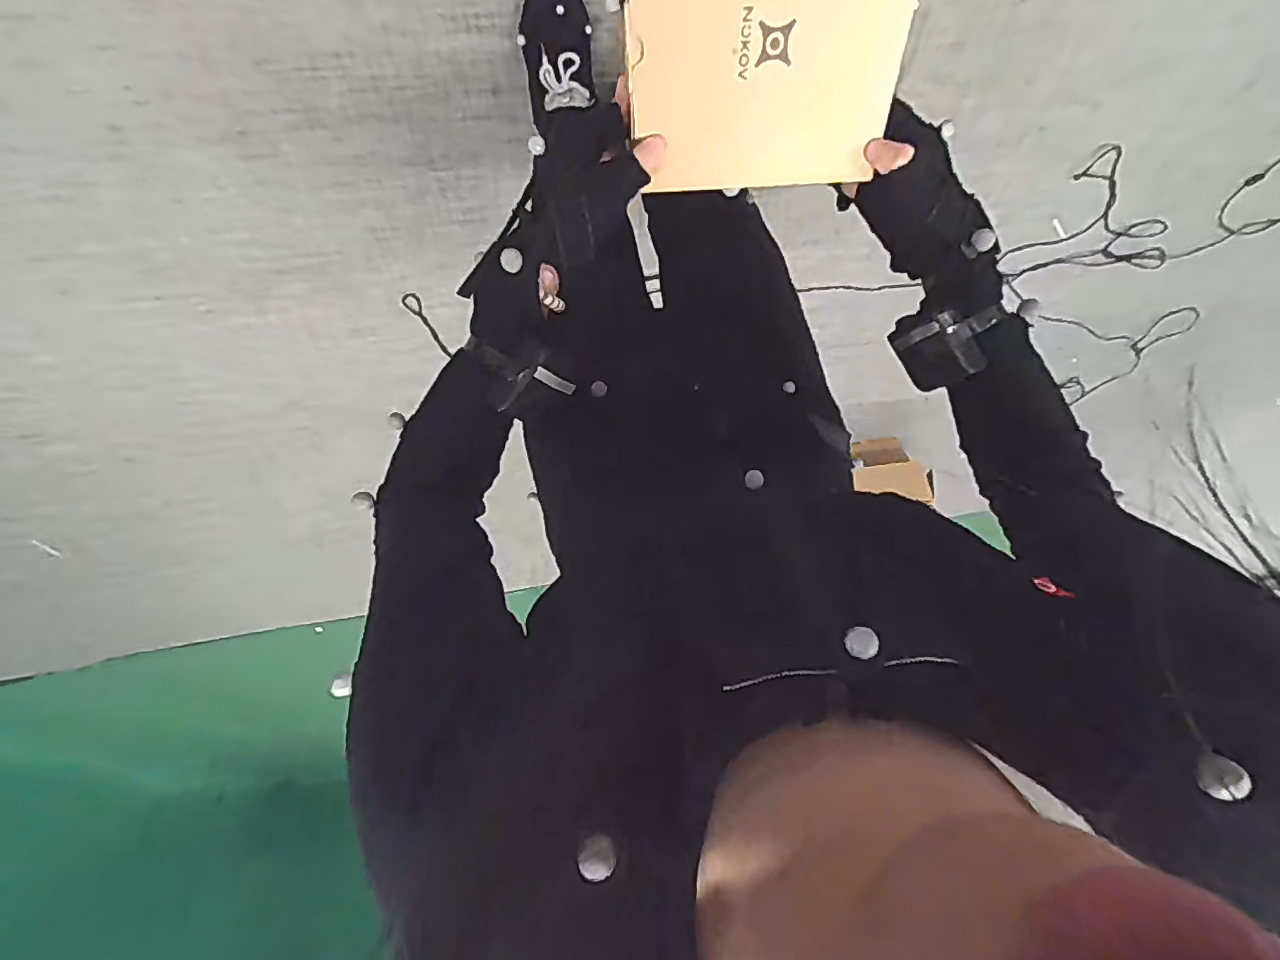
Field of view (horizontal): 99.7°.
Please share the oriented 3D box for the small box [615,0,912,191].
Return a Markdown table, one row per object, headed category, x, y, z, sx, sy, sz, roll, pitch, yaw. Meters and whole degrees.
| category | x | y | z | sx | sy | sz | roll | pitch | yaw |
| --- | --- | --- | --- | --- | --- | --- | --- | --- | --- |
| small box | 0.072 | -0.326 | 0.385 | 0.179 | 0.176 | 0.168 | -3 | 136 | 0 |
